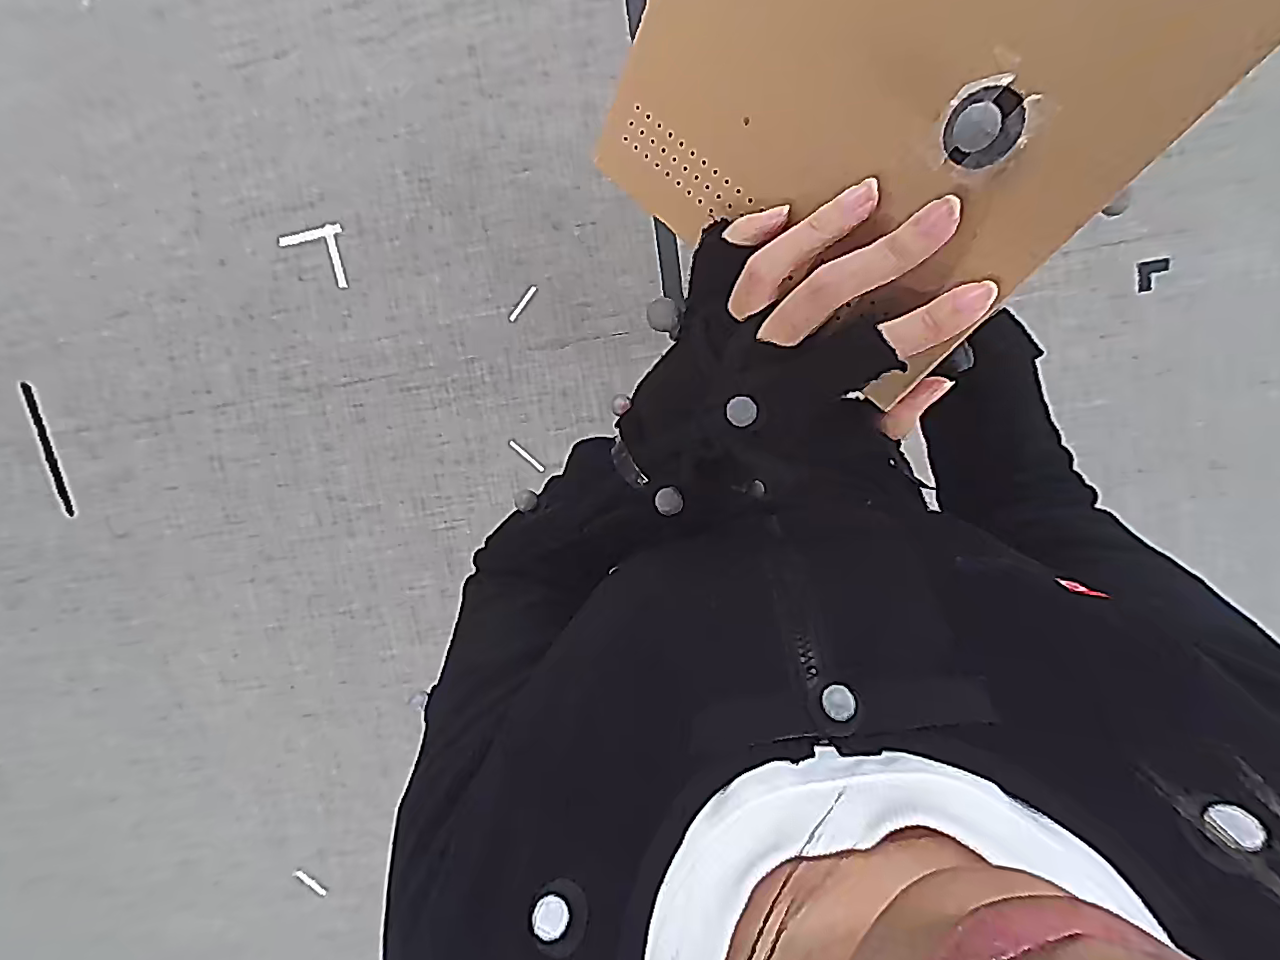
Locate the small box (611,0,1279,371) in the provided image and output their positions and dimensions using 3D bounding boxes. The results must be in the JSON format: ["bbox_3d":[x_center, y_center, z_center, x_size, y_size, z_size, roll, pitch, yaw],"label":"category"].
[{"bbox_3d":[0.119,-0.170,0.240,0.179,0.168,0.176,44,136,9],"label":"small box"}]
